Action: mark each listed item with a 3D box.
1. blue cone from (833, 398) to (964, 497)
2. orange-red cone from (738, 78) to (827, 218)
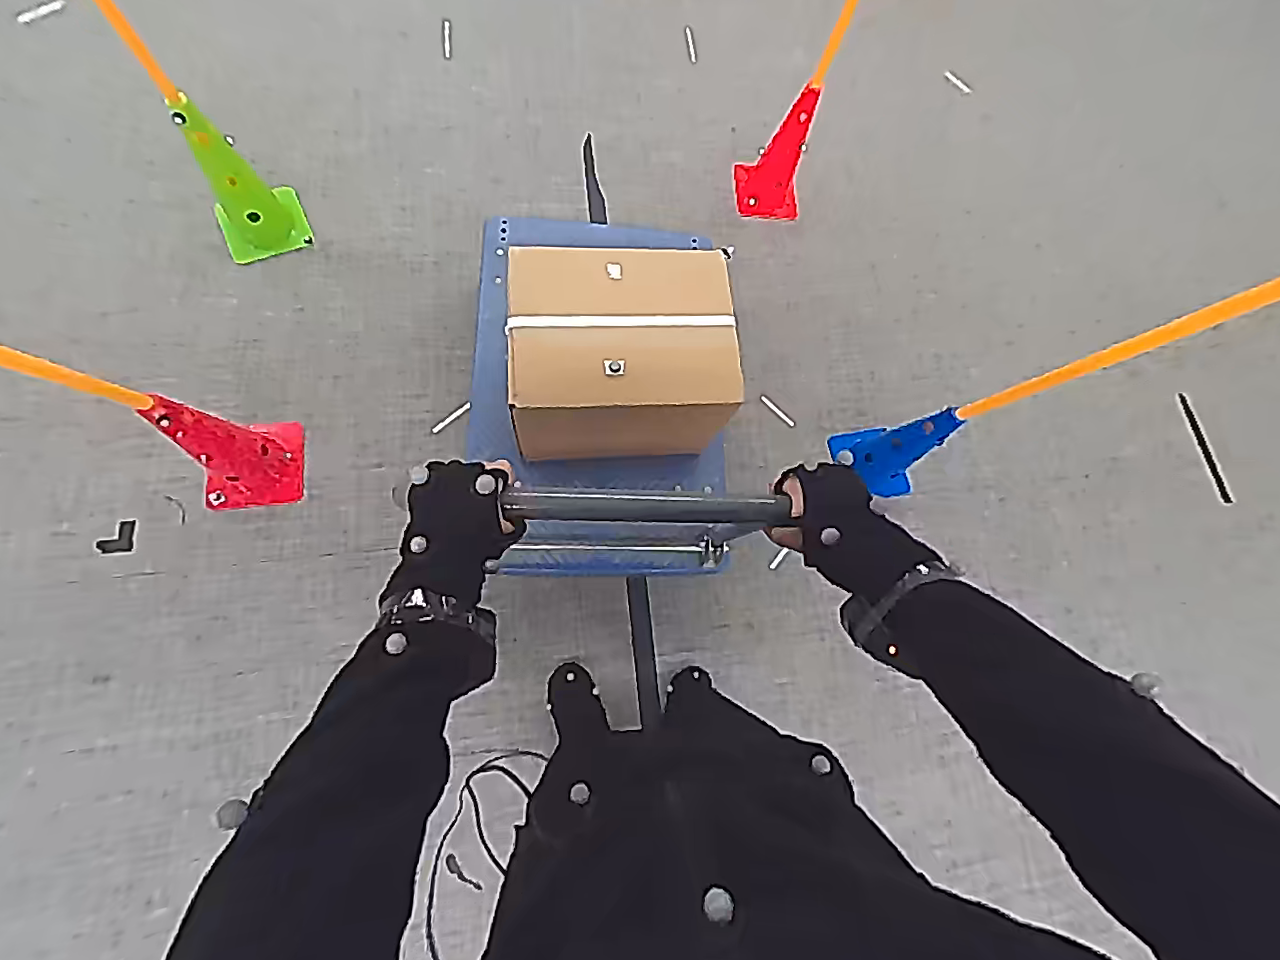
[{"bbox_3d":[0.662,-0.098,1.339,0.193,0.380,0.192,-8,75,-11],"label":"blue cone"},{"bbox_3d":[0.432,-0.958,1.533,0.199,0.360,0.198,2,75,-9],"label":"orange-red cone"}]
